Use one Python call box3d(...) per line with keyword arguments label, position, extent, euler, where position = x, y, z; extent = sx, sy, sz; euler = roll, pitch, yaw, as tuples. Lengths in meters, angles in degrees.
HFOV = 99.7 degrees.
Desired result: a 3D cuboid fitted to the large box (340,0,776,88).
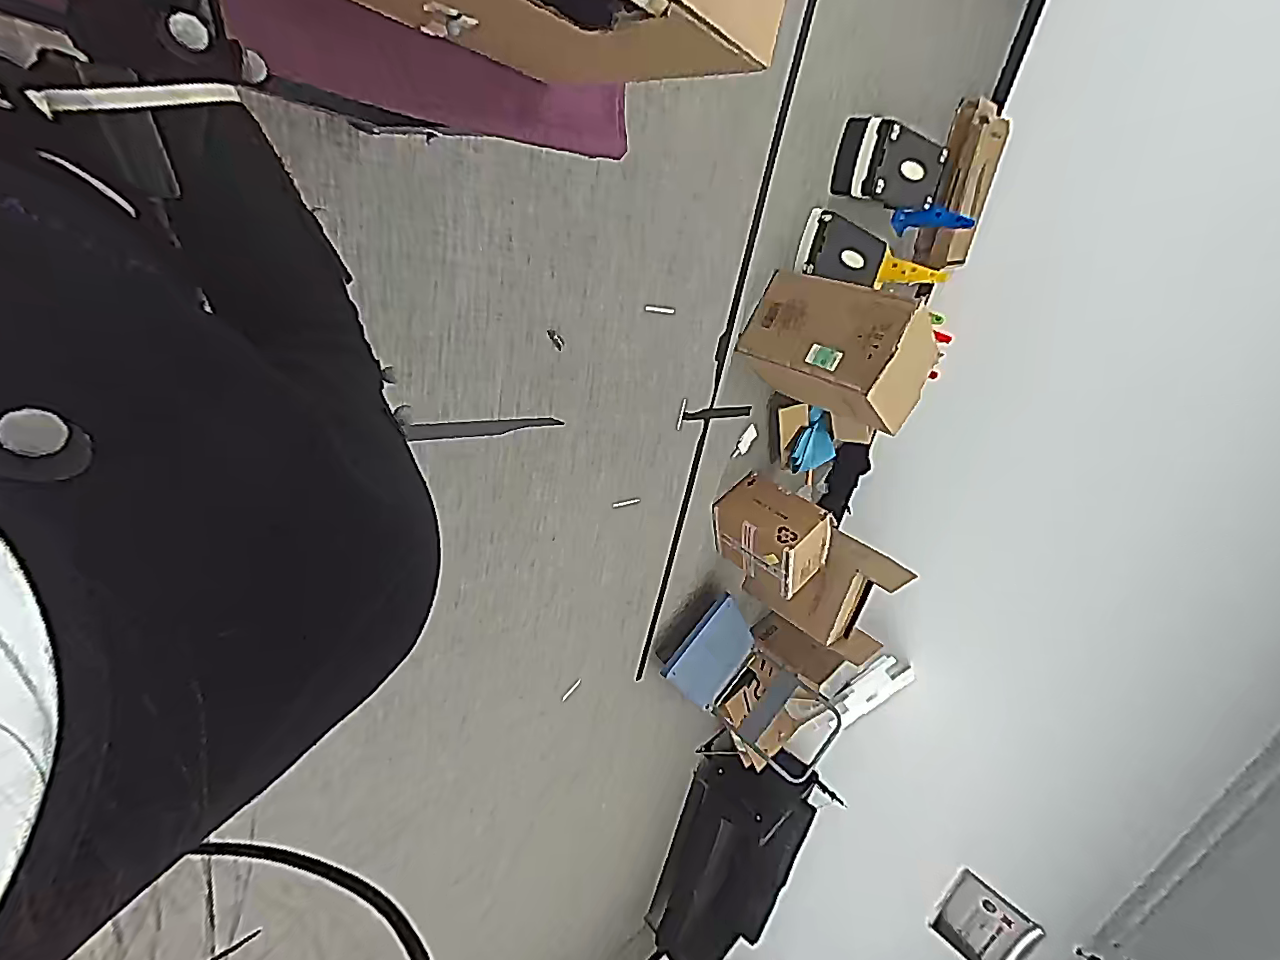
box3d(label="large box", position=(-0.073, -0.561, 0.372), extent=(0.320, 0.320, 0.408), euler=(-12, 122, -45))
